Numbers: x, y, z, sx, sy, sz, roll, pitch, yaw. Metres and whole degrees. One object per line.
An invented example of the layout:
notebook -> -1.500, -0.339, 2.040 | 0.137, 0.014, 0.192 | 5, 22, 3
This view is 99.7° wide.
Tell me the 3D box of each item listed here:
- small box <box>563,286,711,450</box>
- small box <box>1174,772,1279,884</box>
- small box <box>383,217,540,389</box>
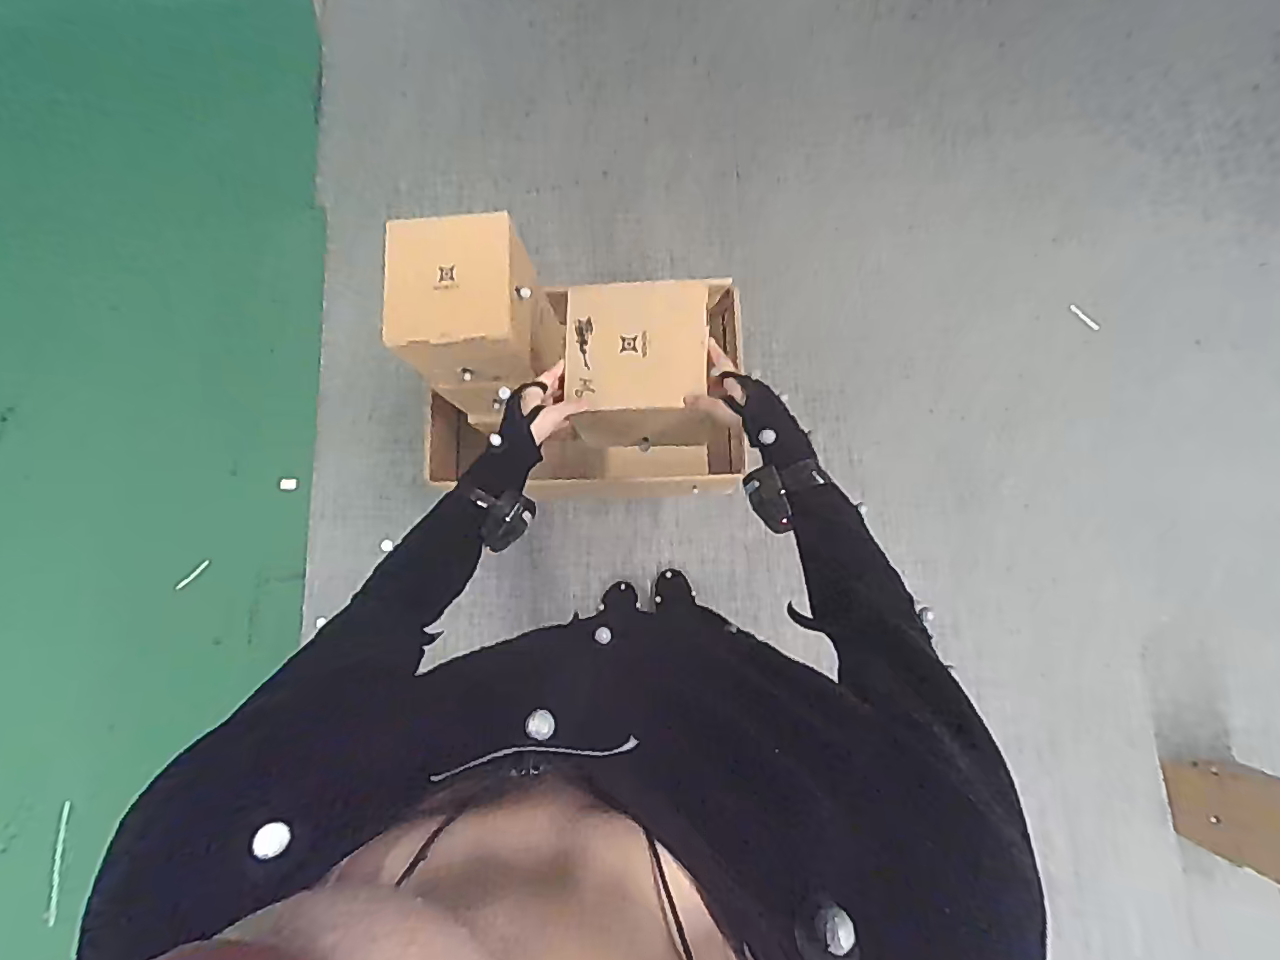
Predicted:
small box -> 0.003, -0.141, 0.728 | 0.179, 0.176, 0.168 | 0, 77, 5
small box -> 1.408, 0.796, 1.256 | 0.168, 0.176, 0.179 | -4, 80, 3
small box -> -0.244, -0.243, 0.775 | 0.168, 0.176, 0.179 | -3, 81, 3
